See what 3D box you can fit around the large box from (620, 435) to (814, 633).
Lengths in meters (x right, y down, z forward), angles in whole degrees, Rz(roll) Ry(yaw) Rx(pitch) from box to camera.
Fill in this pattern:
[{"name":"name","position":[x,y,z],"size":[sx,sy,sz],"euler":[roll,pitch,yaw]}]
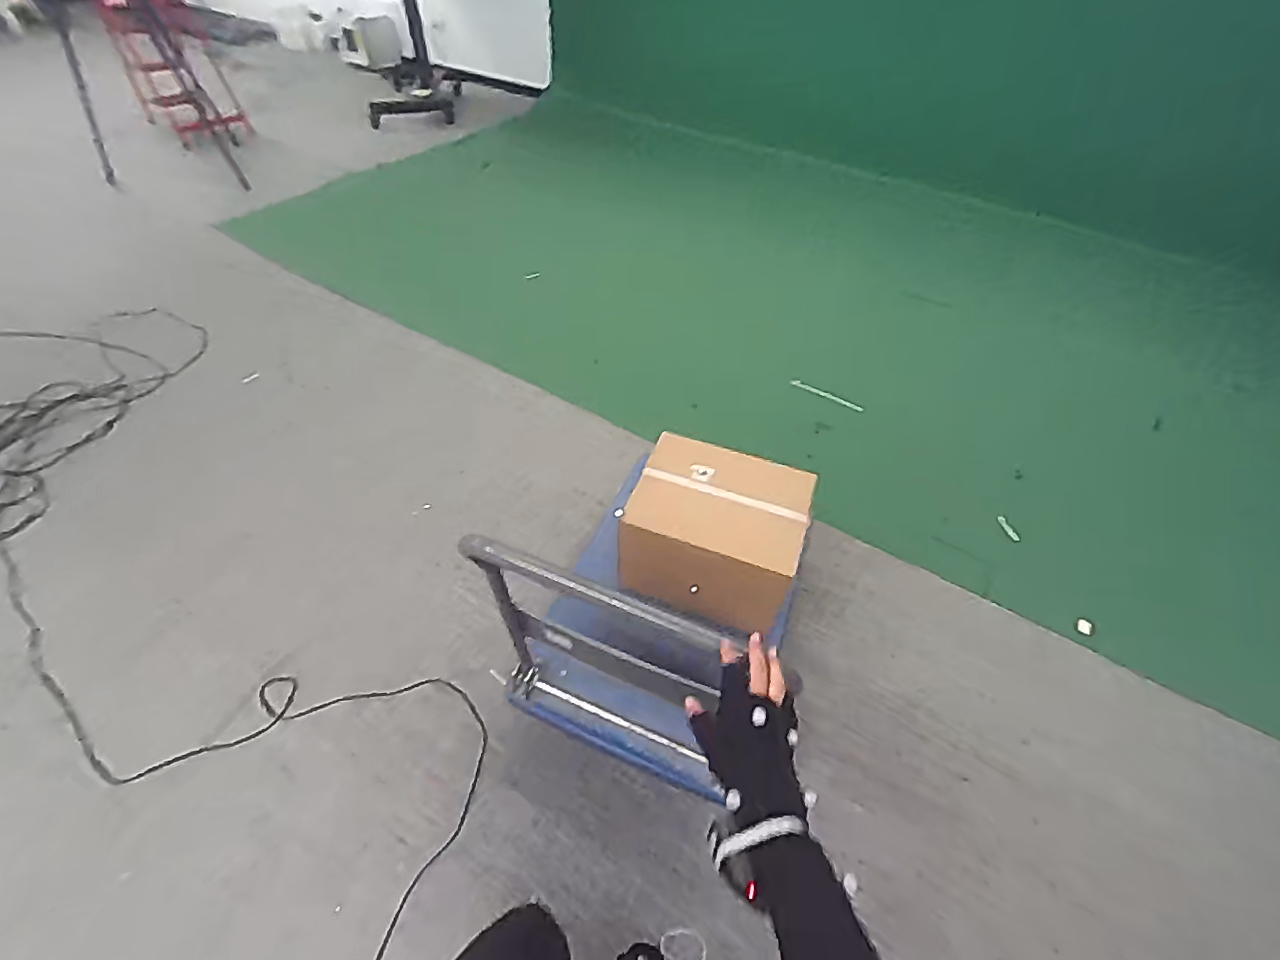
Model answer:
[{"name":"large box","position":[0.191,0.139,1.390],"size":[0.408,0.320,0.320],"euler":[17,50,13]}]
